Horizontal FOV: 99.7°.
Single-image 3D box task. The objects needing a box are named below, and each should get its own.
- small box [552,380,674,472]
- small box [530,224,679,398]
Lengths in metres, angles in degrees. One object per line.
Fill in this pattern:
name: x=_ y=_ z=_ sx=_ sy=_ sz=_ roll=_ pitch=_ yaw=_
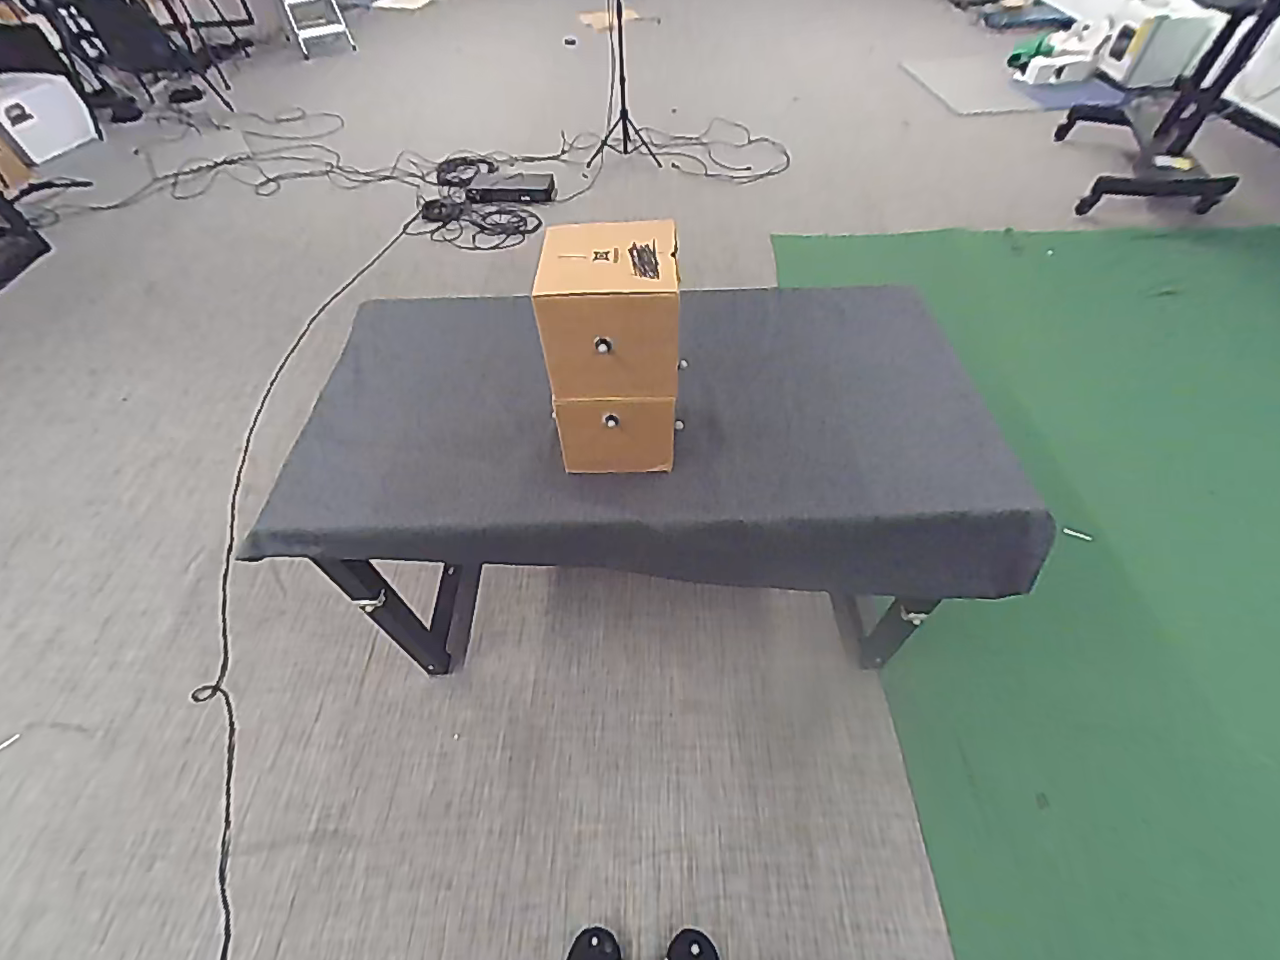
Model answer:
small box: x=-0.036 y=-0.125 z=0.871 sx=0.179 sy=0.176 sz=0.168 roll=0 pitch=53 yaw=0
small box: x=-0.037 y=-0.227 z=0.742 sx=0.179 sy=0.176 sz=0.168 roll=-1 pitch=53 yaw=3
